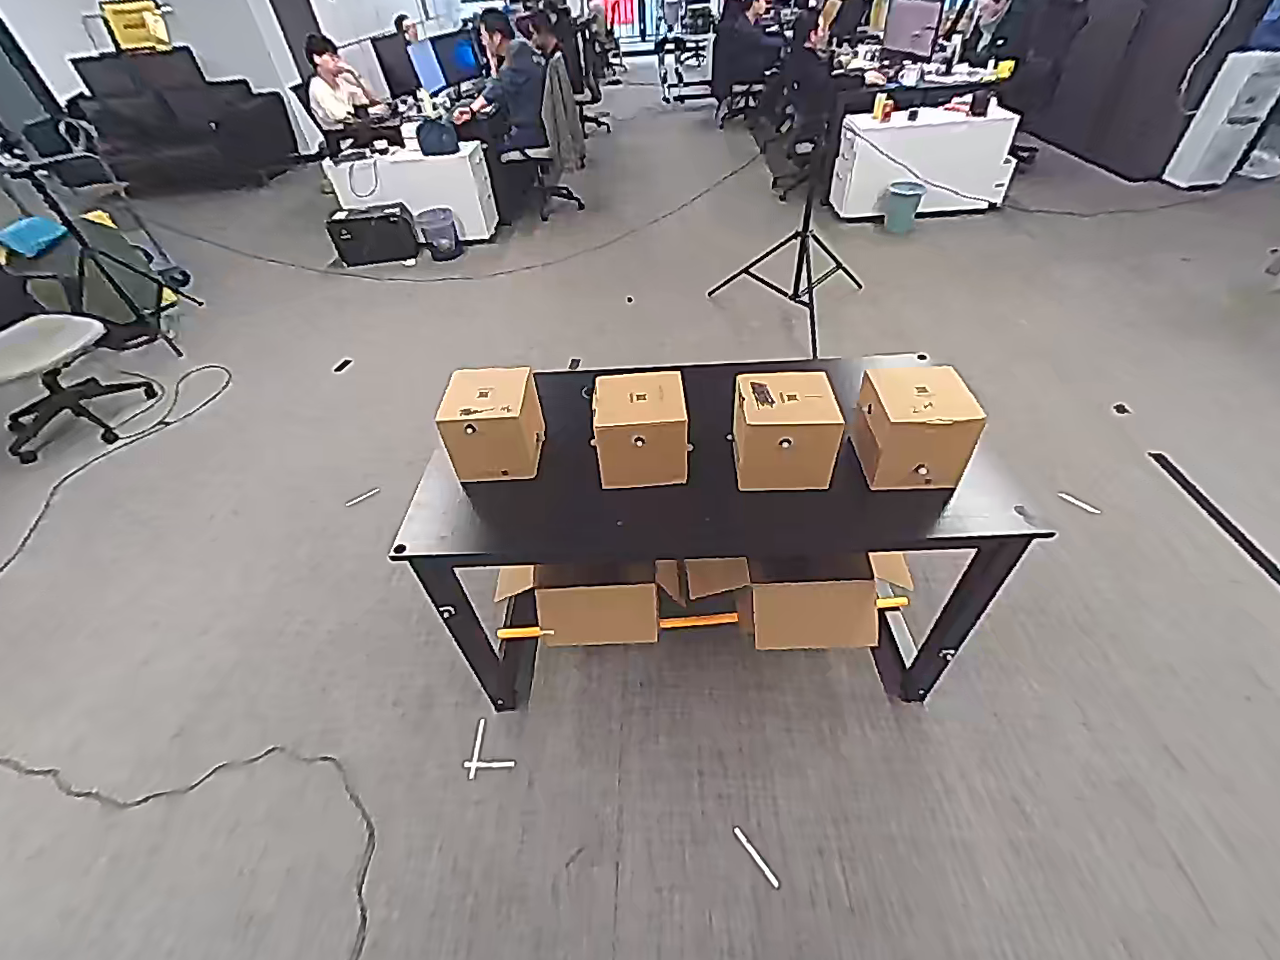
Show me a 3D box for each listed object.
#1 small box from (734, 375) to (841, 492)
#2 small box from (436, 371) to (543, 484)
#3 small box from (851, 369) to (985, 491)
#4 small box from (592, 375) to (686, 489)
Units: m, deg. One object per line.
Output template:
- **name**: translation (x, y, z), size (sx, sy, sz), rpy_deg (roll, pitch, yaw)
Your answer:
- **small box**: translation (0.279, -0.090, 1.067), size (0.179, 0.176, 0.168), rpy_deg (-1, 43, 4)
- **small box**: translation (-0.307, -0.111, 1.144), size (0.168, 0.176, 0.179), rpy_deg (-3, 43, 2)
- **small box**: translation (0.523, -0.097, 1.051), size (0.168, 0.176, 0.179), rpy_deg (-2, 43, 5)
- **small box**: translation (0.001, -0.095, 1.102), size (0.179, 0.176, 0.168), rpy_deg (-4, 45, 0)
